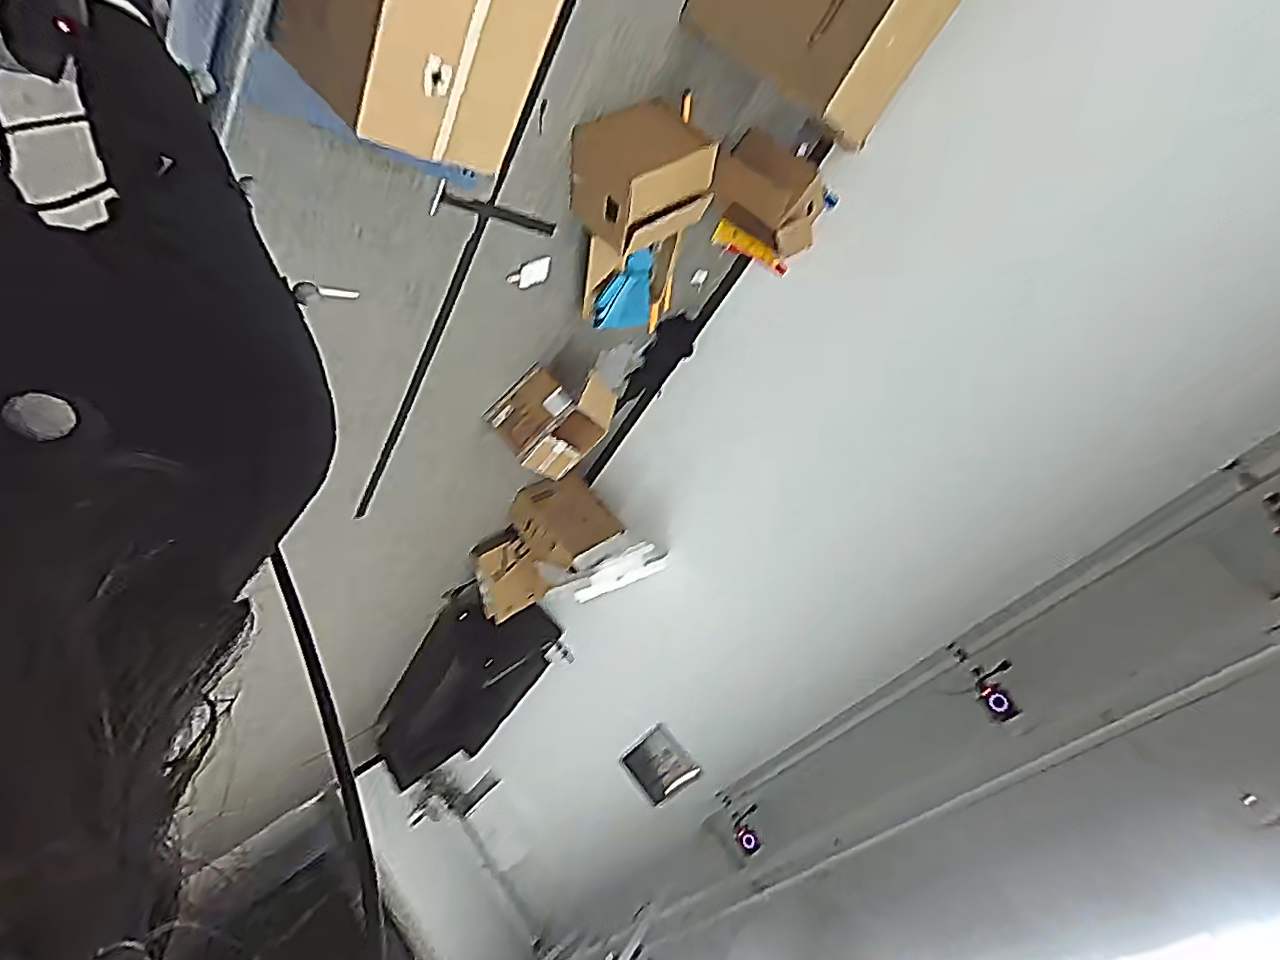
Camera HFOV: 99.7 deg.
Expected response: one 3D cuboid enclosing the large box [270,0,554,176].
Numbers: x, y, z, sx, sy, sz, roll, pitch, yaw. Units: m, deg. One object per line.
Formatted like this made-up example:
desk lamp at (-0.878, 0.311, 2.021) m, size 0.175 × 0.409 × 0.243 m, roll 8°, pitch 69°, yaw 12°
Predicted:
large box at (-0.409, -0.861, 0.977) m, size 0.320 × 0.320 × 0.408 m, roll -19°, pitch 153°, yaw -54°
